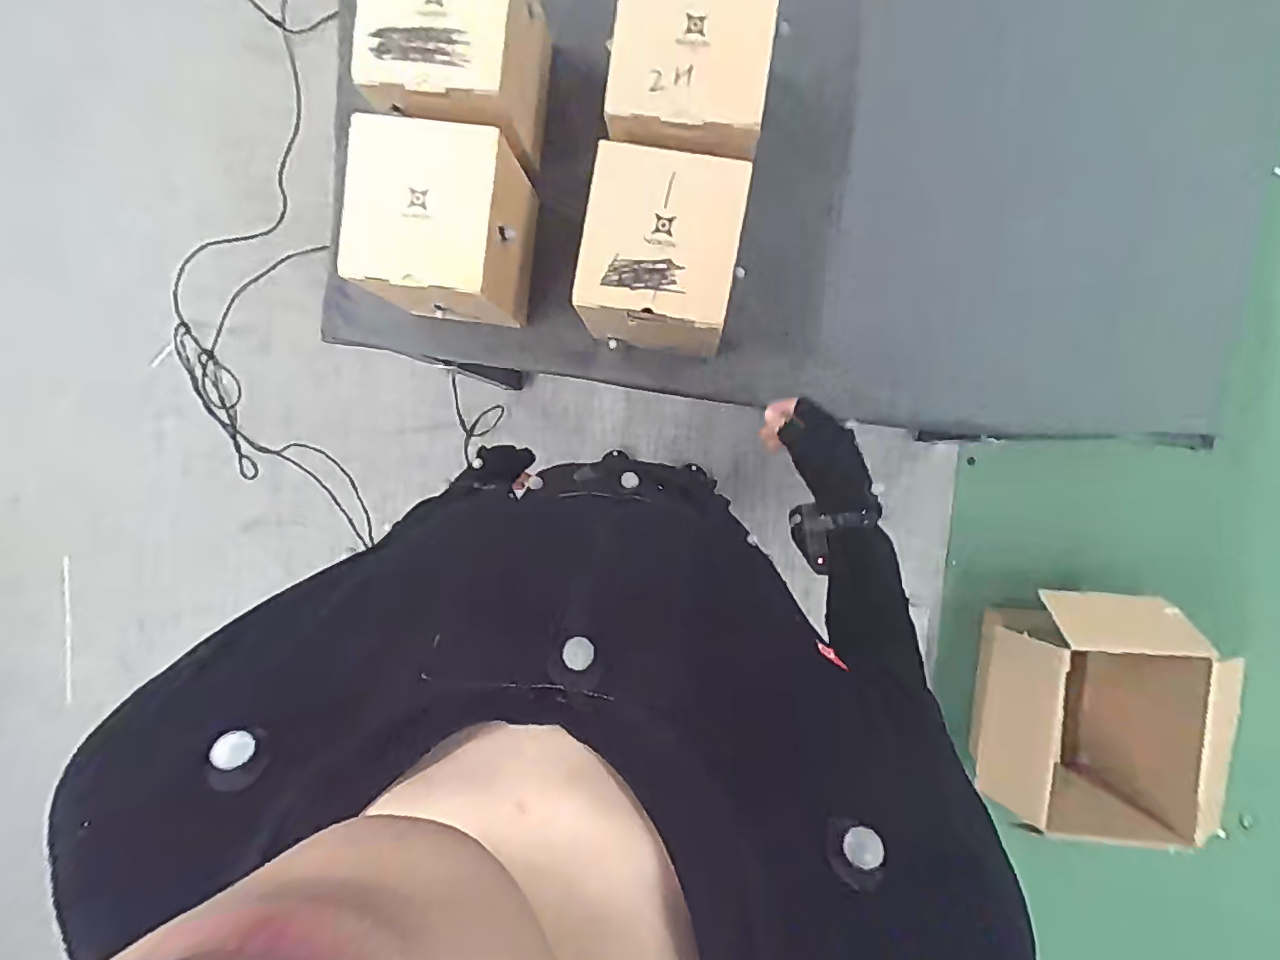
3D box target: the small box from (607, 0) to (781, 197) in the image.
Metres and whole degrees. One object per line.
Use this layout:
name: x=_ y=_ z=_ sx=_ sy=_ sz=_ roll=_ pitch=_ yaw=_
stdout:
small box: x=0.062 y=-0.468 z=0.635 sx=0.168 sy=0.176 sz=0.179 roll=8 pitch=94 yaw=3
